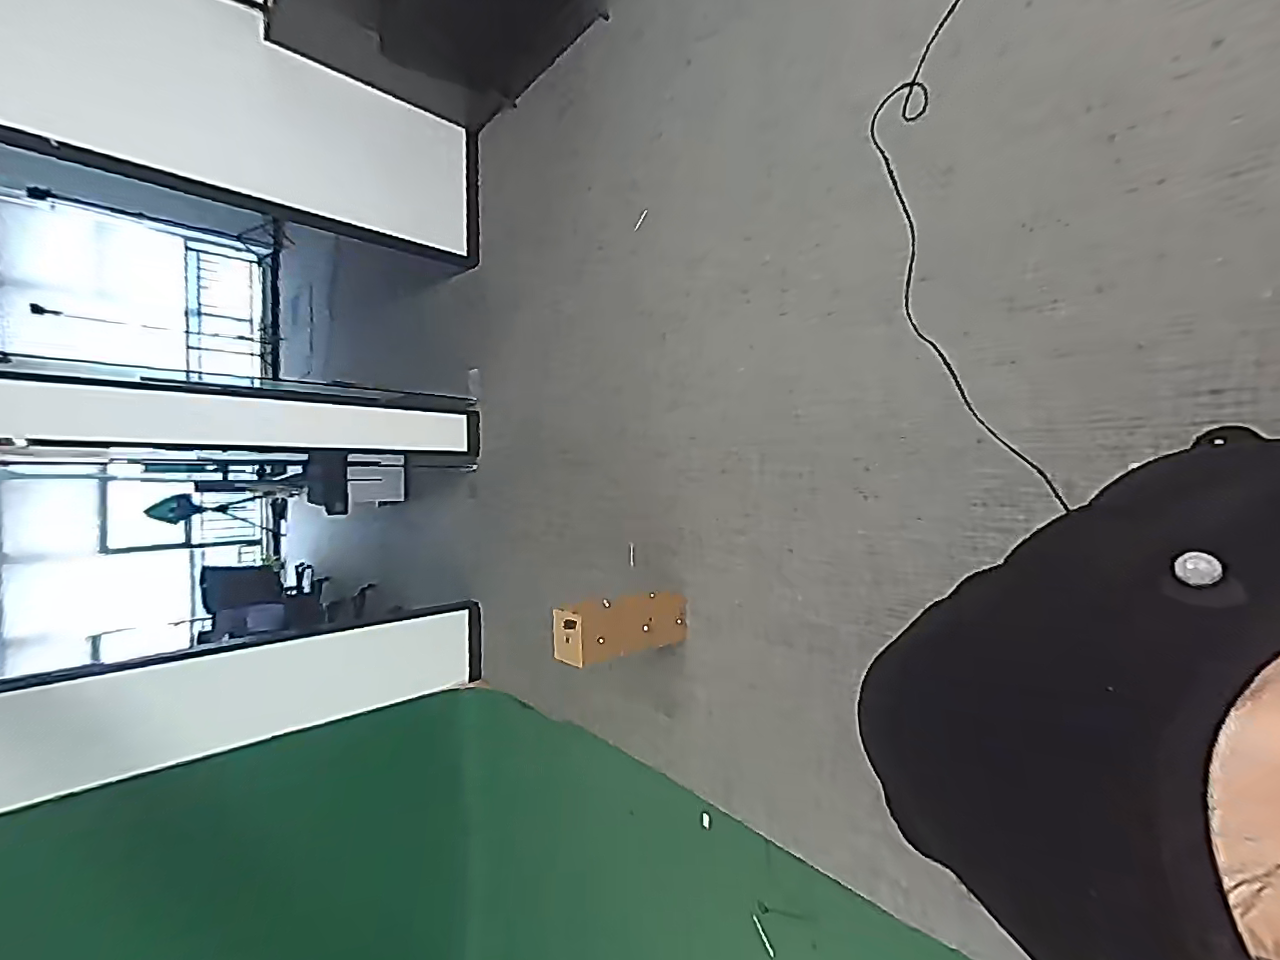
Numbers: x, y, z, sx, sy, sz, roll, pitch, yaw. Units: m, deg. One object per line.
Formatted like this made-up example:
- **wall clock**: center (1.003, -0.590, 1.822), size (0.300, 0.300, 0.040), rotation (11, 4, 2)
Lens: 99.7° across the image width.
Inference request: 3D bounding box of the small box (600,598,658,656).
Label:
- **small box**: center (-0.052, 0.537, 1.999), size (0.179, 0.176, 0.168), rotation (-5, 87, 47)

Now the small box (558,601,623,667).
- **small box**: center (-0.170, 0.529, 1.884), size (0.168, 0.176, 0.179), rotation (-2, 89, 48)
